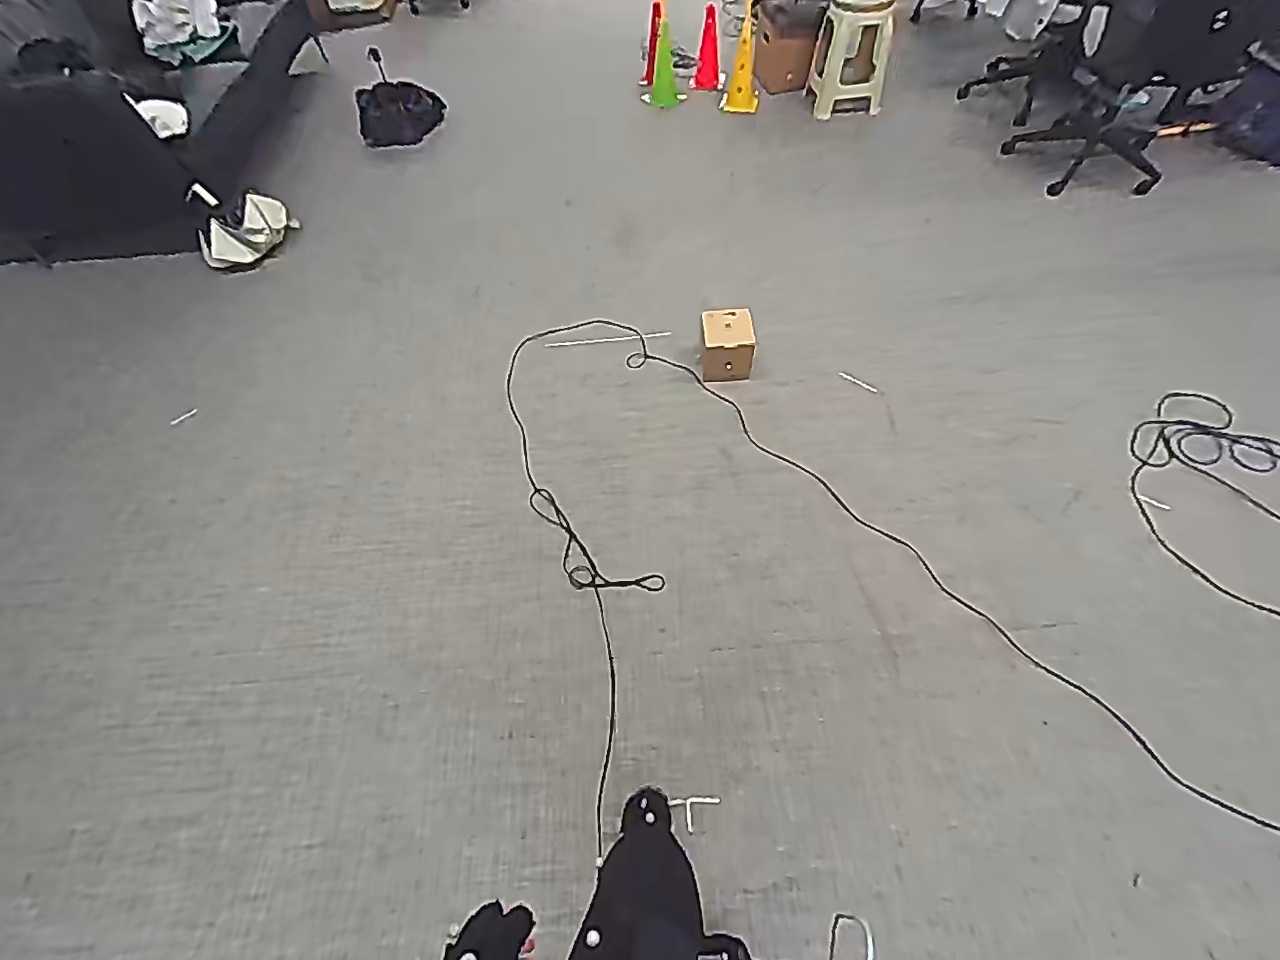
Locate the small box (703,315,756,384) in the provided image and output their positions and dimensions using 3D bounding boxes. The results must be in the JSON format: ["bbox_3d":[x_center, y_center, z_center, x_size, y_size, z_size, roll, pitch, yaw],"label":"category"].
[{"bbox_3d":[0.306,-0.446,1.878,0.168,0.176,0.179,-2,58,3],"label":"small box"}]
